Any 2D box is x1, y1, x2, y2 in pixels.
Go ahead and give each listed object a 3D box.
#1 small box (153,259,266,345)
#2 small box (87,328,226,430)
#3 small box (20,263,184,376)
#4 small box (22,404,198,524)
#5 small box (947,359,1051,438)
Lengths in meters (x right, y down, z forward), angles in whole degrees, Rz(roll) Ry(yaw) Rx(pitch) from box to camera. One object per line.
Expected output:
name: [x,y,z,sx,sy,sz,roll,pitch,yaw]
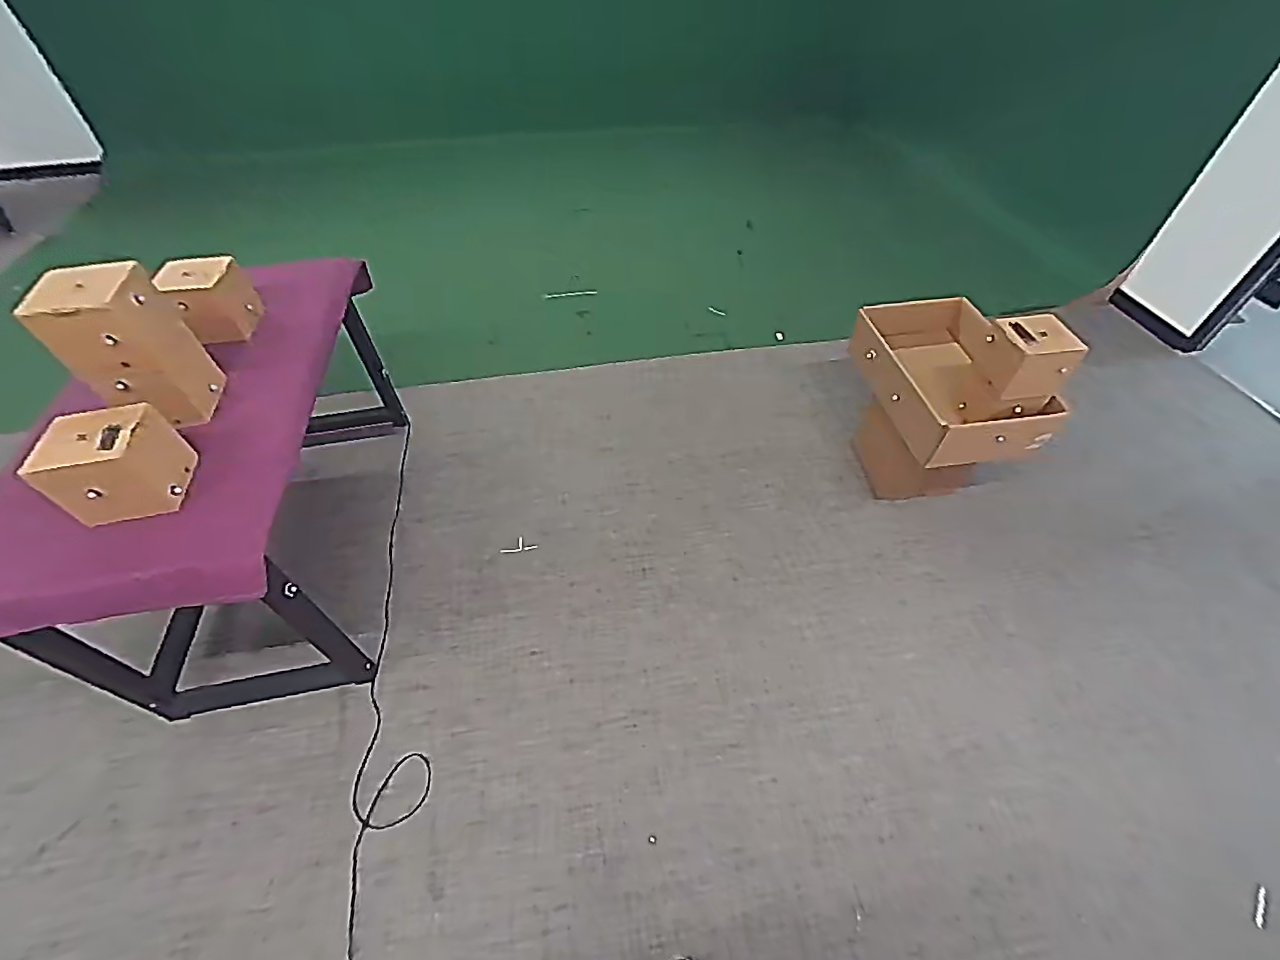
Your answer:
small box: [-1.209,-0.498,1.521,0.179,0.176,0.168,-6,50,-4]
small box: [-1.145,-0.238,1.301,0.168,0.176,0.179,-11,50,-8]
small box: [-1.147,-0.342,1.174,0.168,0.176,0.179,-11,51,-9]
small box: [-1.077,-0.031,1.122,0.179,0.176,0.168,-11,50,-7]
small box: [1.100,-0.250,1.673,0.179,0.176,0.168,-7,51,-4]
